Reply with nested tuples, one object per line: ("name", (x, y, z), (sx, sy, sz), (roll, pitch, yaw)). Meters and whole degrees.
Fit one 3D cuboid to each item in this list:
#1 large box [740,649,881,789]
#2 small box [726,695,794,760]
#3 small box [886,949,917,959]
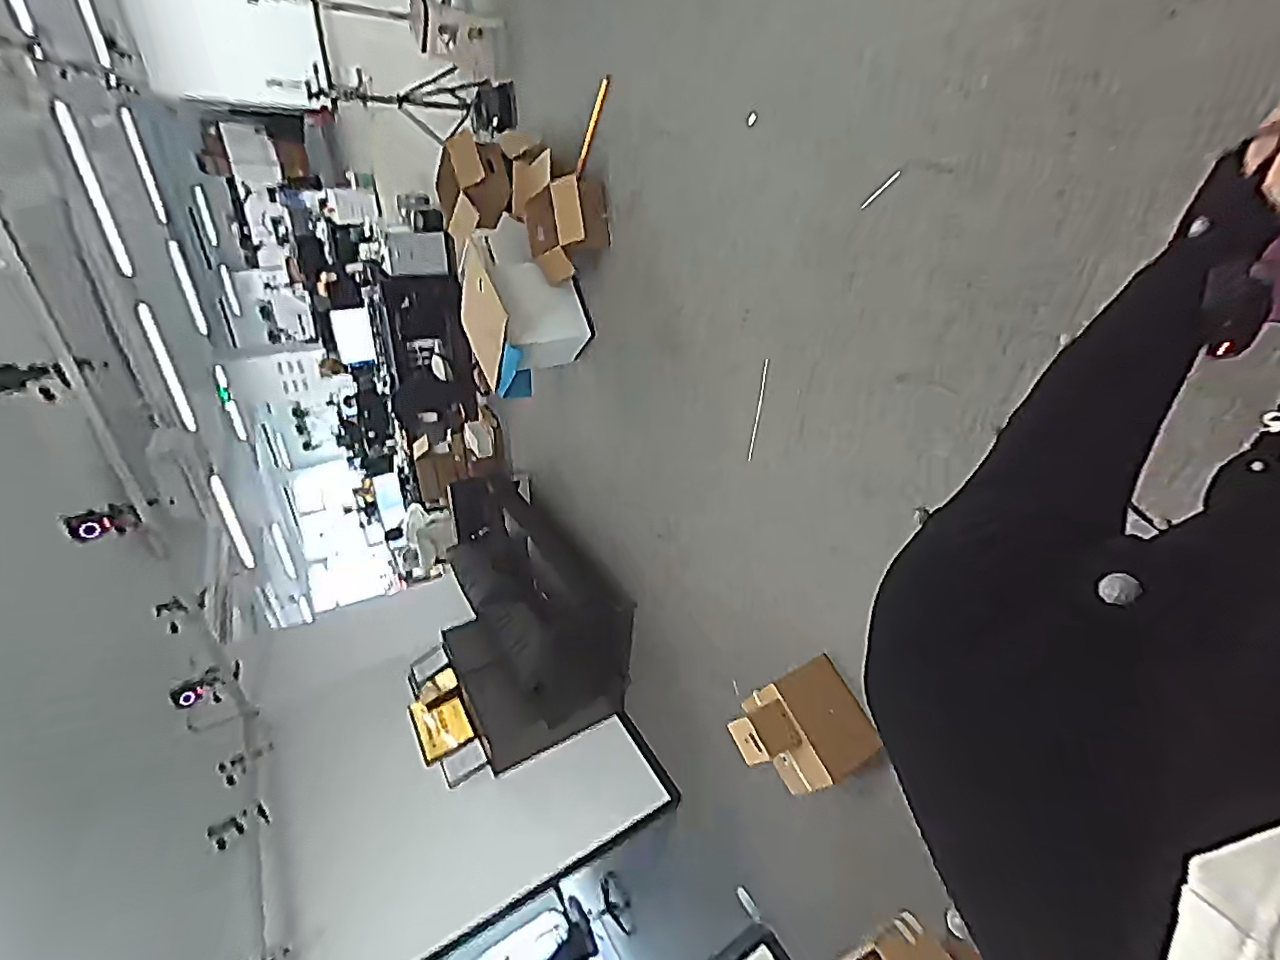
("large box", (0.700, 0.990, 2.257), (0.408, 0.320, 0.320), (58, 148, 25))
("small box", (0.476, 0.971, 2.128), (0.168, 0.176, 0.179), (61, 147, 22))
("small box", (0.804, 1.603, 1.663), (0.168, 0.176, 0.179), (48, 141, 38))
